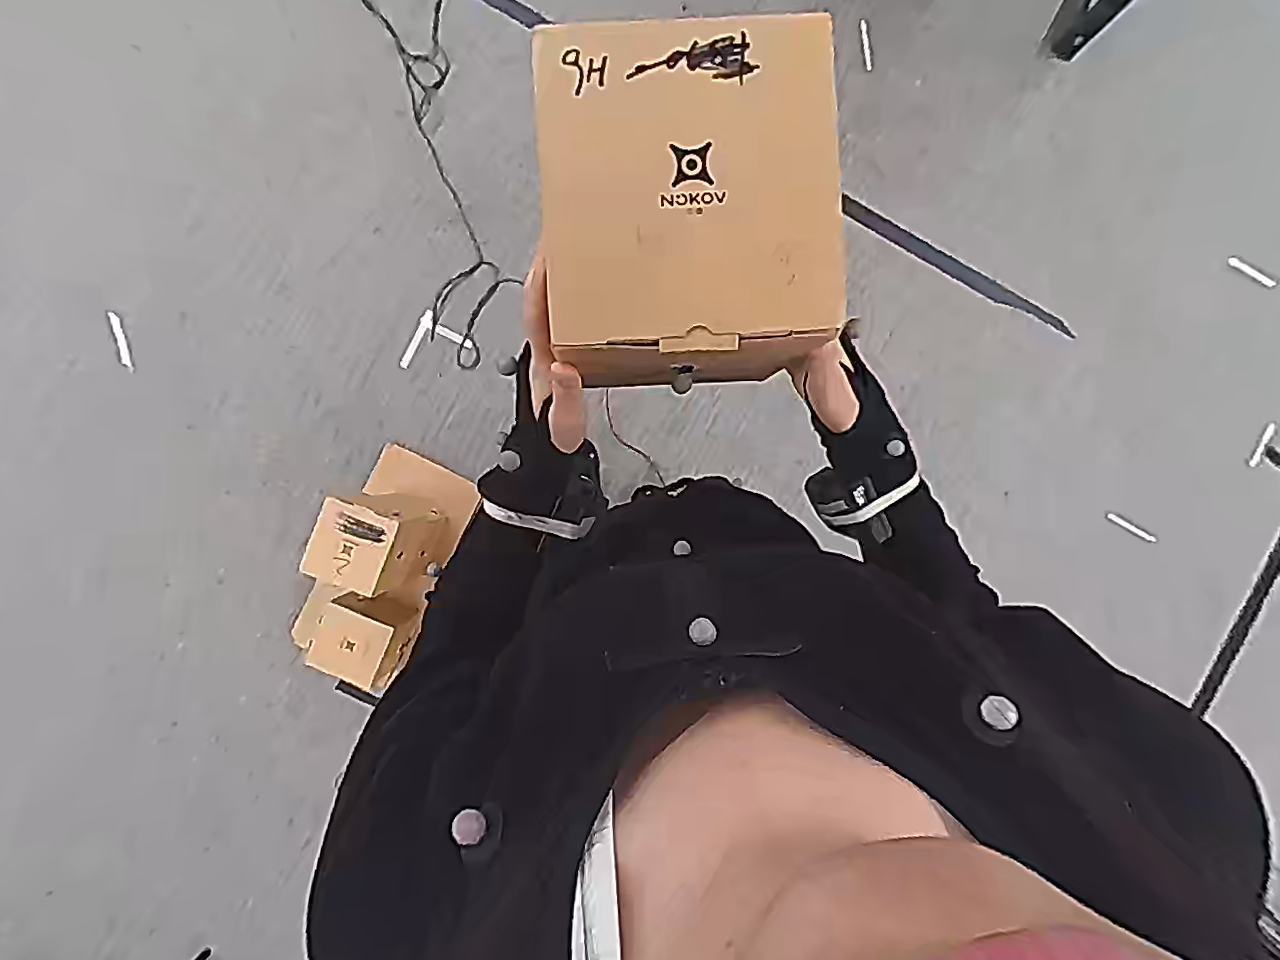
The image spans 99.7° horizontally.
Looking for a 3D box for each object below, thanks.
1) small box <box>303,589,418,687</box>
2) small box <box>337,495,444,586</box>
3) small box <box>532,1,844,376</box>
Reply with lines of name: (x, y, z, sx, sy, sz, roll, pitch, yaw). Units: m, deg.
small box: (-0.704, 0.392, 1.381, 0.179, 0.176, 0.168, 22, 92, -2)
small box: (-0.625, 0.145, 1.382, 0.168, 0.176, 0.179, 23, 90, -2)
small box: (0.026, -0.168, 0.370, 0.168, 0.176, 0.179, -3, 92, -2)
